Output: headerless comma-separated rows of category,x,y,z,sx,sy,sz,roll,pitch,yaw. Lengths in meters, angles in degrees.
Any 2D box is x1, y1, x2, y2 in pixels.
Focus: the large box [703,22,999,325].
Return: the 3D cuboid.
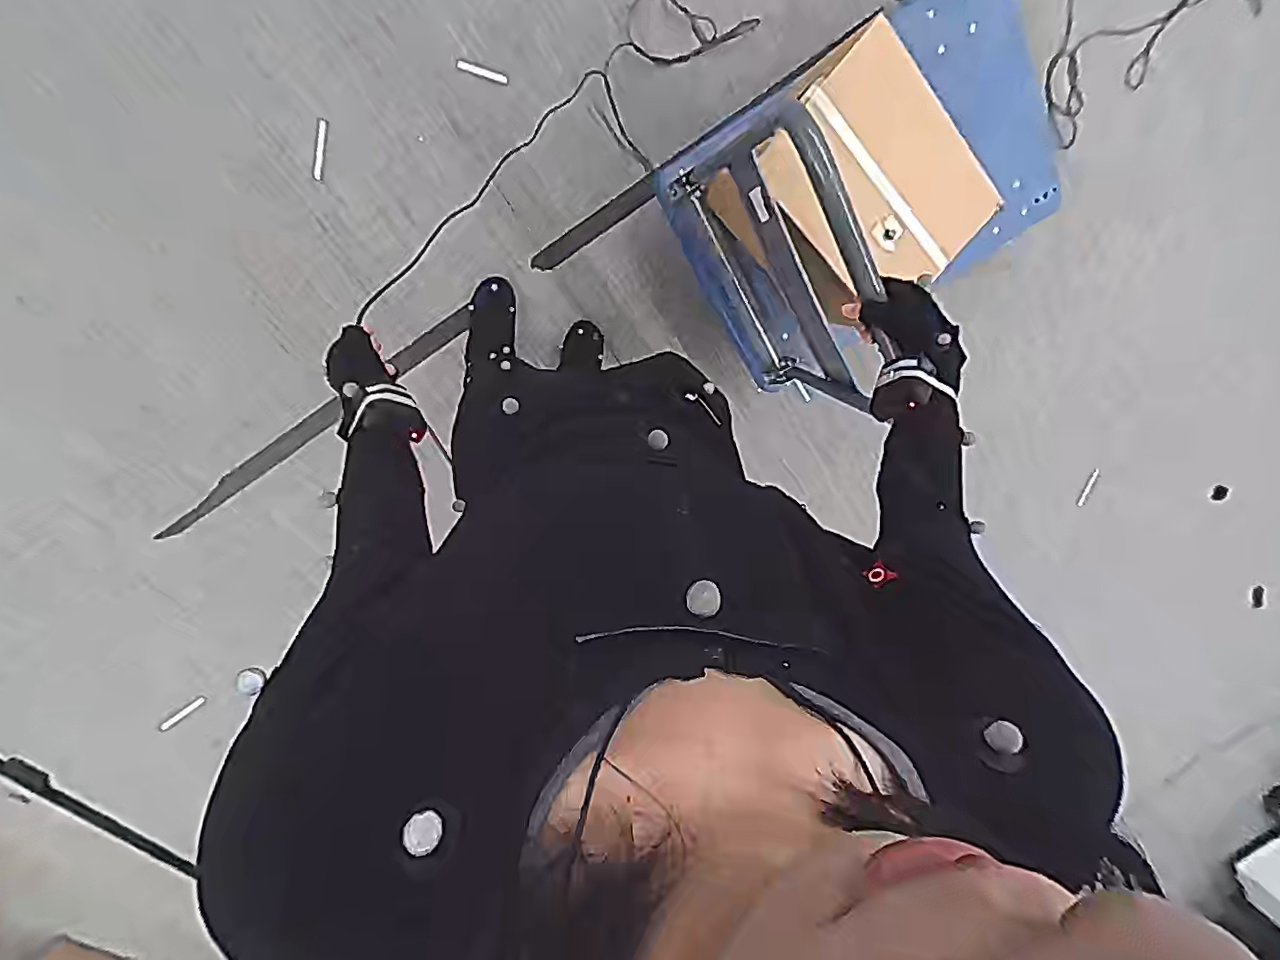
large box,0.404,-0.573,1.103,0.408,0.320,0.320,39,99,-21
